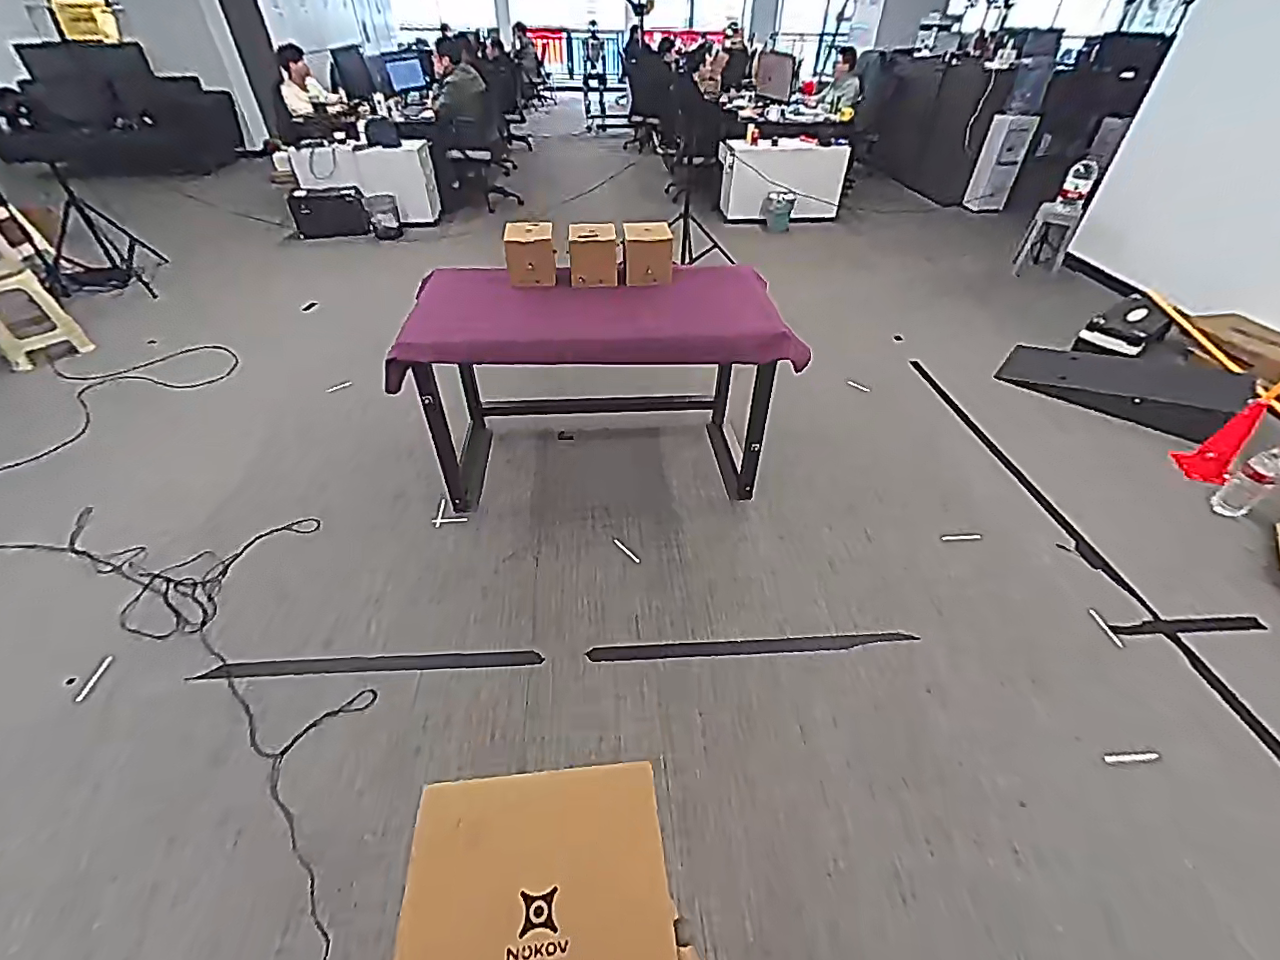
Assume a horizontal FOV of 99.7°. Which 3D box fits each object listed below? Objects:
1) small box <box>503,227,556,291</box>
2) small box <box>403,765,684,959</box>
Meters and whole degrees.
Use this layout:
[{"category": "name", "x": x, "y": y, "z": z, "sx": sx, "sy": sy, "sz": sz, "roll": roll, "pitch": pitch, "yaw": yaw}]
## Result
[{"category": "small box", "x": -0.395, "y": -0.801, "z": 1.967, "sx": 0.168, "sy": 0.176, "sz": 0.179, "roll": -3, "pitch": 44, "yaw": -5}, {"category": "small box", "x": -0.064, "y": 0.333, "z": 0.378, "sx": 0.168, "sy": 0.176, "sz": 0.179, "roll": -2, "pitch": 39, "yaw": -8}]
